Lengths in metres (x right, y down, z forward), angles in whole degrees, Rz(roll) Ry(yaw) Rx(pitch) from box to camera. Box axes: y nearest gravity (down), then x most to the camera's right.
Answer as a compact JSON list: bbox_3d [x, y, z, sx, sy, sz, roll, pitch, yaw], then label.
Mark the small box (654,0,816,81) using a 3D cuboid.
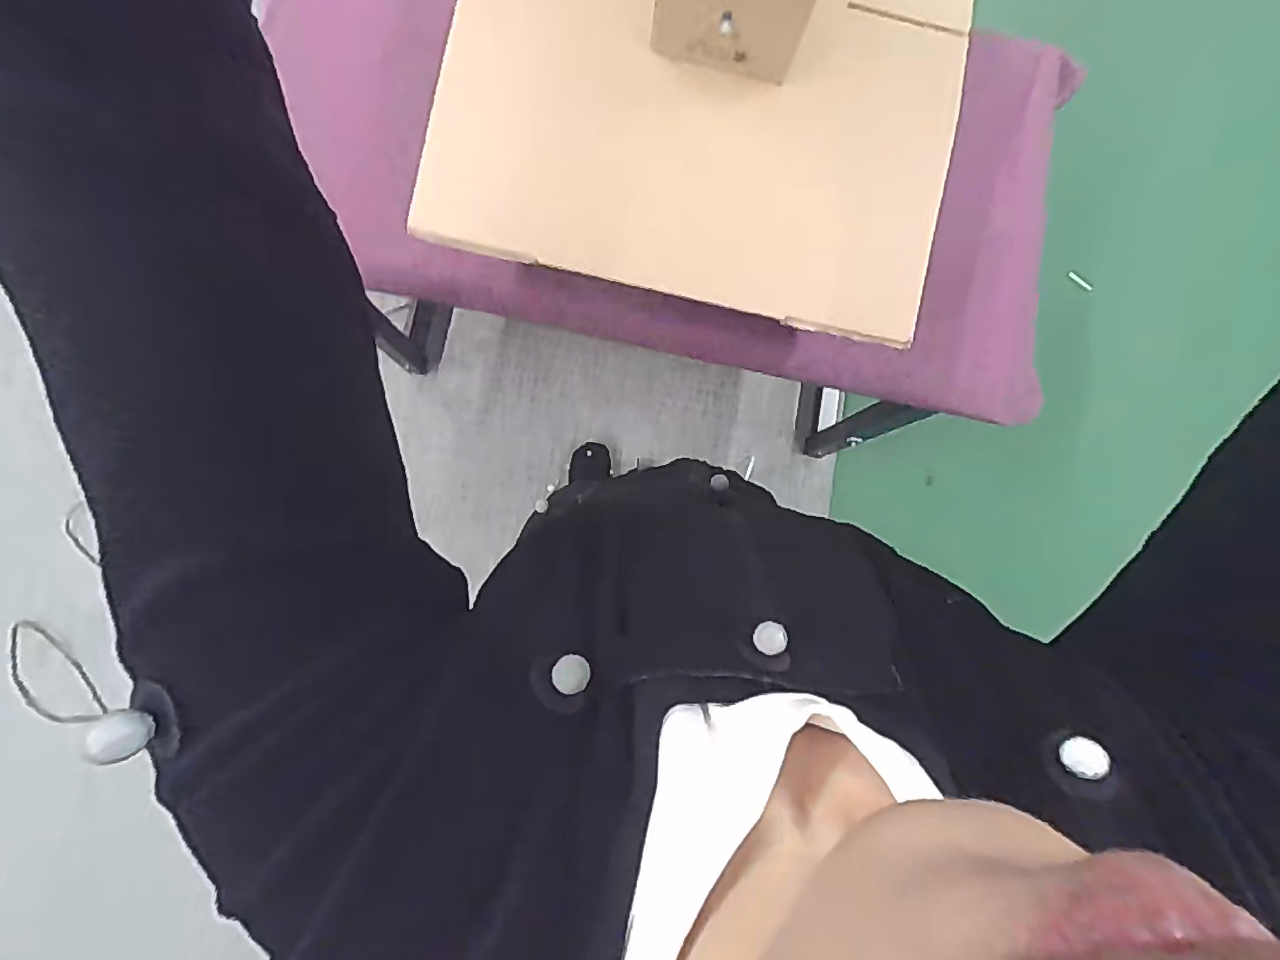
[{"bbox_3d":[0.115,-0.580,0.568,0.168,0.176,0.179,12,82,-2],"label":"small box"}]
